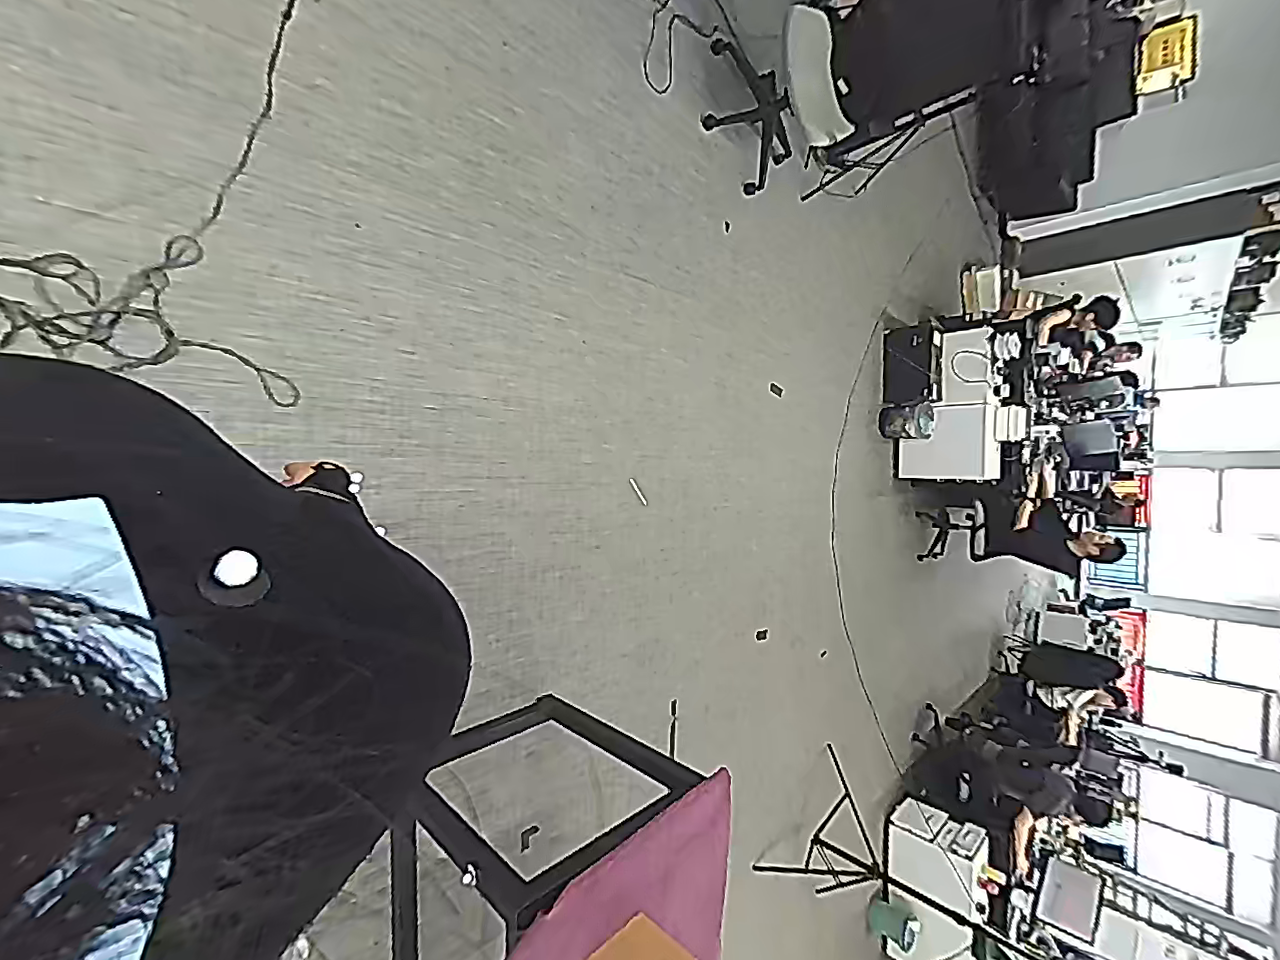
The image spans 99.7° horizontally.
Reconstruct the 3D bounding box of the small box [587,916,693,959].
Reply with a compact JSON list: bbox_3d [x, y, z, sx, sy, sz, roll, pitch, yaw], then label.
[{"bbox_3d":[-0.003,1.025,1.066,0.179,0.176,0.168,-4,96,-45],"label":"small box"}]
